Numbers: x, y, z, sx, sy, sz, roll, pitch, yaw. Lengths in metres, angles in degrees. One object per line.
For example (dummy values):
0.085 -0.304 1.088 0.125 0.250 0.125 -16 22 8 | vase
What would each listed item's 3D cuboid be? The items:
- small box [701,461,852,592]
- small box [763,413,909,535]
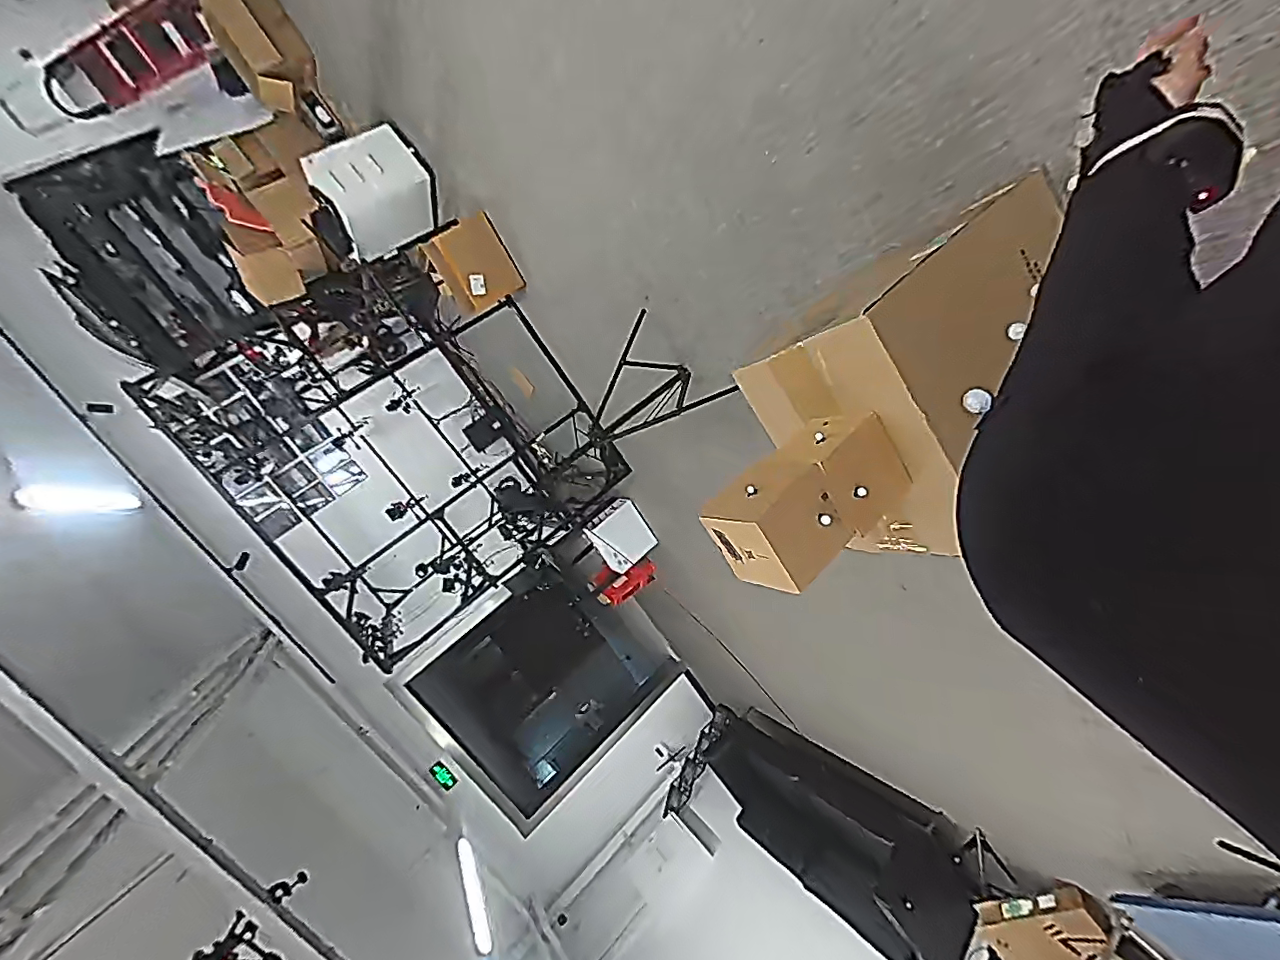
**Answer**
0.253 0.078 1.006 0.168 0.176 0.179 55 158 -16 | small box
0.381 -0.017 1.051 0.179 0.176 0.168 55 159 -15 | small box
